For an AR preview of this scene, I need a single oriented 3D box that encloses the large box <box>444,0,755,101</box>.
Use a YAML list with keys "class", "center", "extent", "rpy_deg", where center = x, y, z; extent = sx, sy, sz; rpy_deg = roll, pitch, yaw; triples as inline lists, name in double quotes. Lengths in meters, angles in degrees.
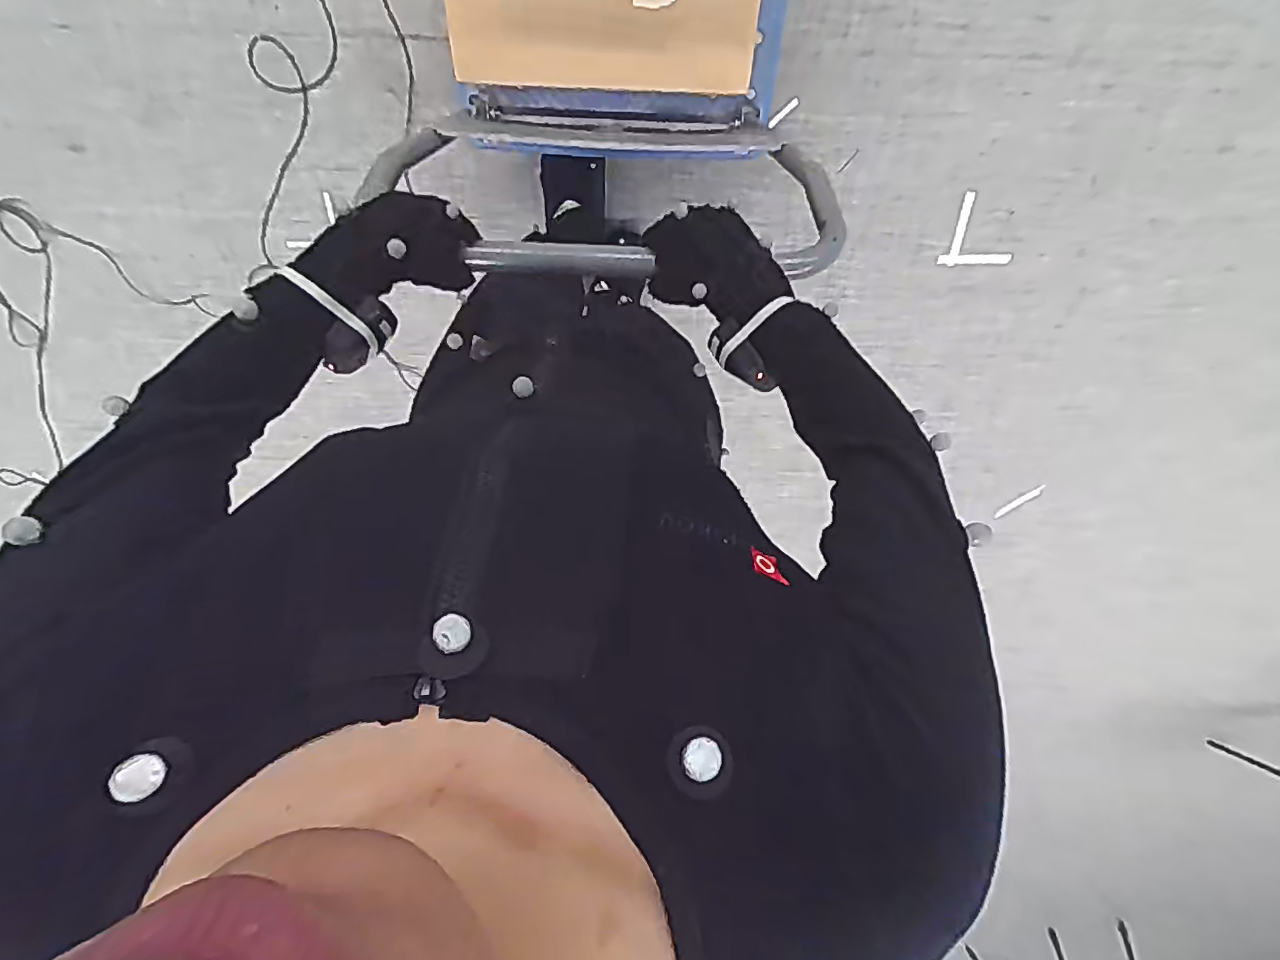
- class: "large box"
  center: [-0.055, -0.740, 0.774]
  extent: [0.408, 0.320, 0.320]
  rpy_deg: [0, 128, -2]
